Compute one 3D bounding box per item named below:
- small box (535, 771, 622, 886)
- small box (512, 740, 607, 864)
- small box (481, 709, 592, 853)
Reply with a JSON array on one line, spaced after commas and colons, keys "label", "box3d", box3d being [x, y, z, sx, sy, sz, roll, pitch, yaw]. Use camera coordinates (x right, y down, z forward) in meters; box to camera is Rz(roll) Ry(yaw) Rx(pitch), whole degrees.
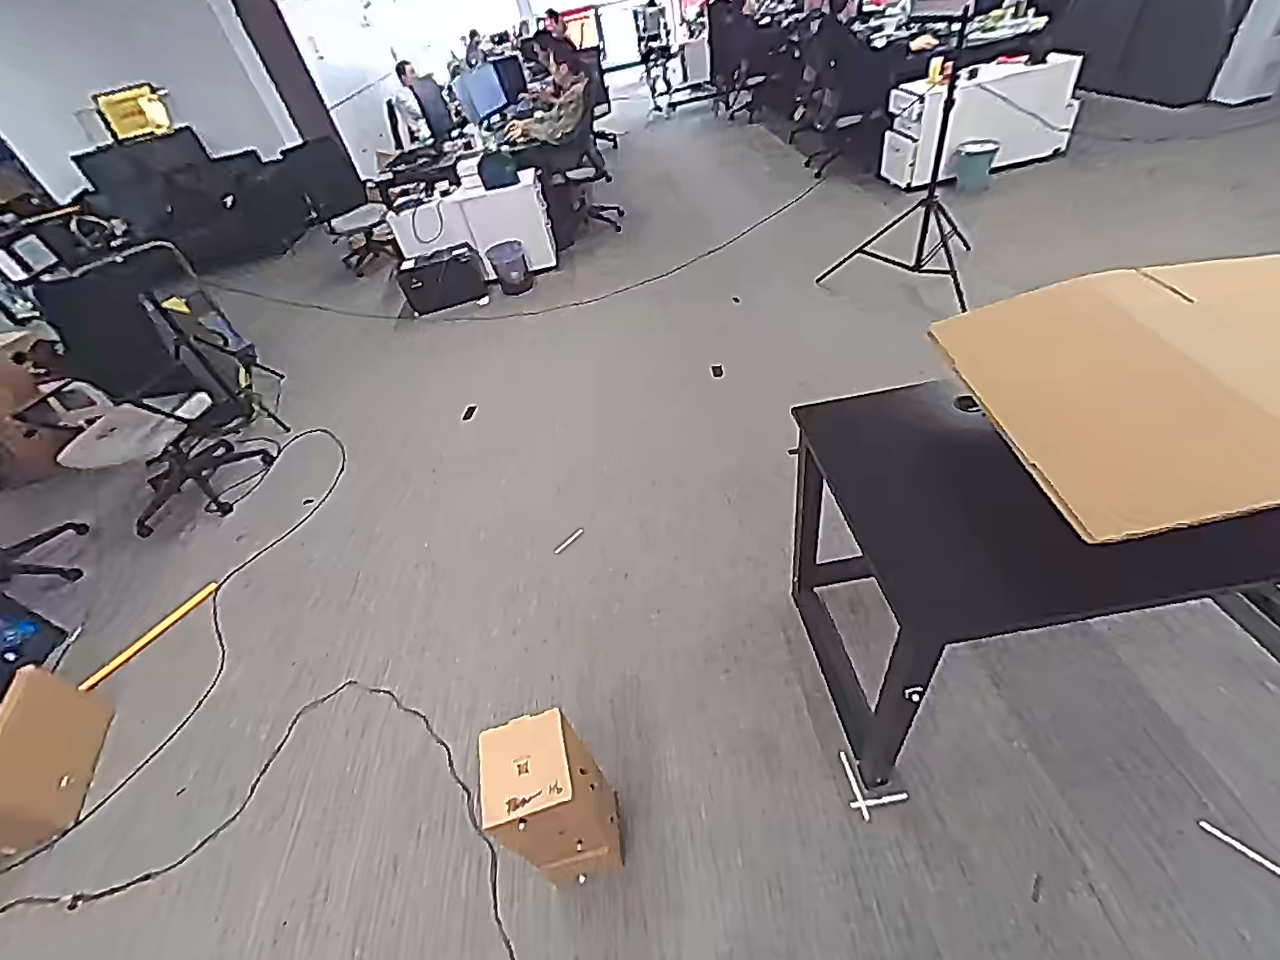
[{"label": "small box", "box3d": [-0.146, 0.825, 1.281, 0.168, 0.176, 0.179, -14, 43, 0]}, {"label": "small box", "box3d": [-0.176, 0.705, 1.176, 0.168, 0.176, 0.179, -15, 41, -3]}, {"label": "small box", "box3d": [-0.203, 0.590, 1.061, 0.168, 0.176, 0.179, -17, 42, -4]}]
